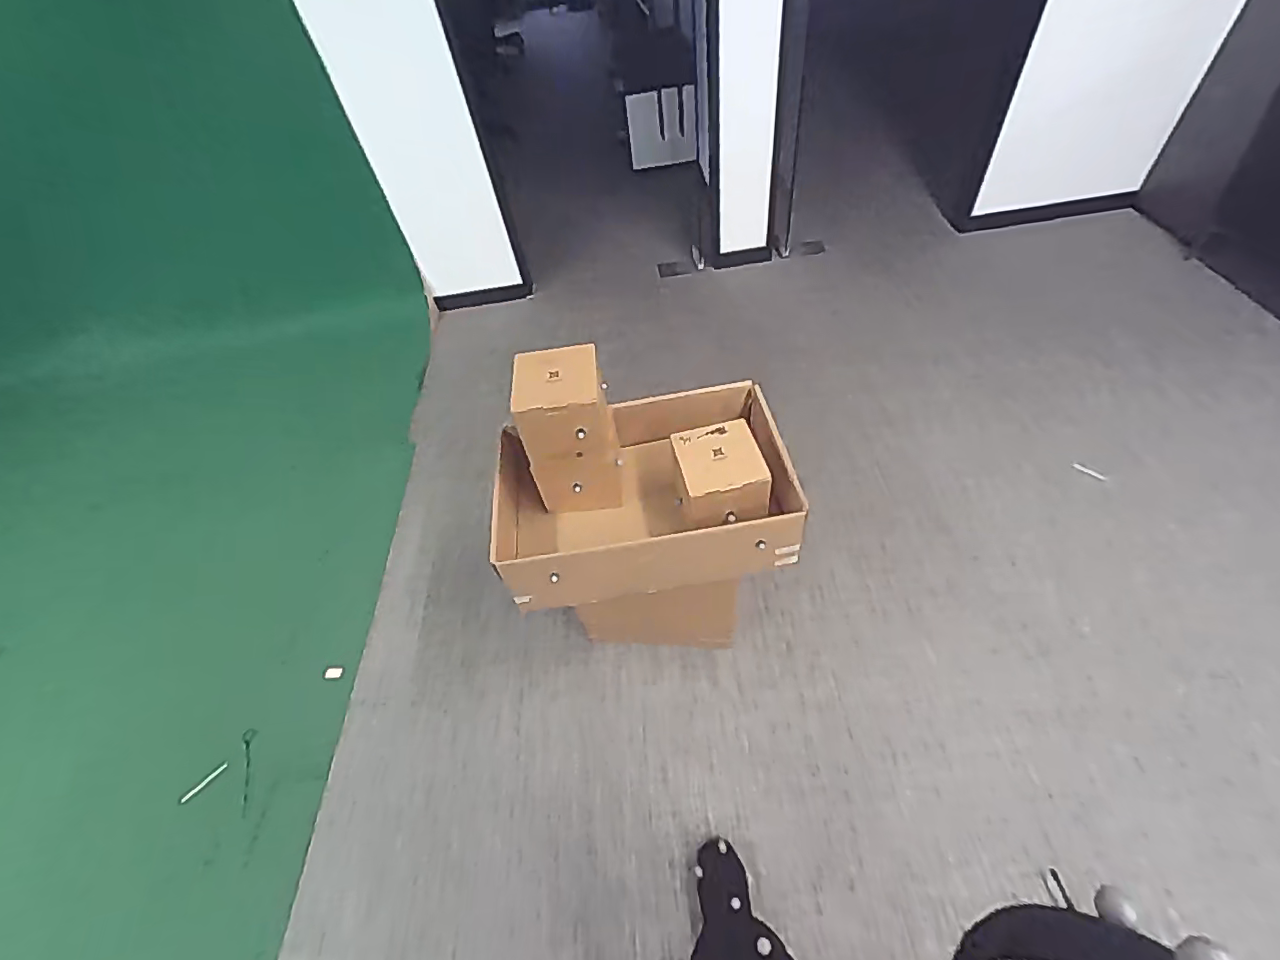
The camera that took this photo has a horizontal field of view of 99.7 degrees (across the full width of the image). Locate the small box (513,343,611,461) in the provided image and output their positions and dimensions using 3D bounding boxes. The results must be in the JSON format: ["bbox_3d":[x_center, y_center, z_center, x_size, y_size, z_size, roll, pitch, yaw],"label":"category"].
[{"bbox_3d":[-0.153,-0.152,1.108,0.168,0.176,0.179,-7,50,1],"label":"small box"}]
